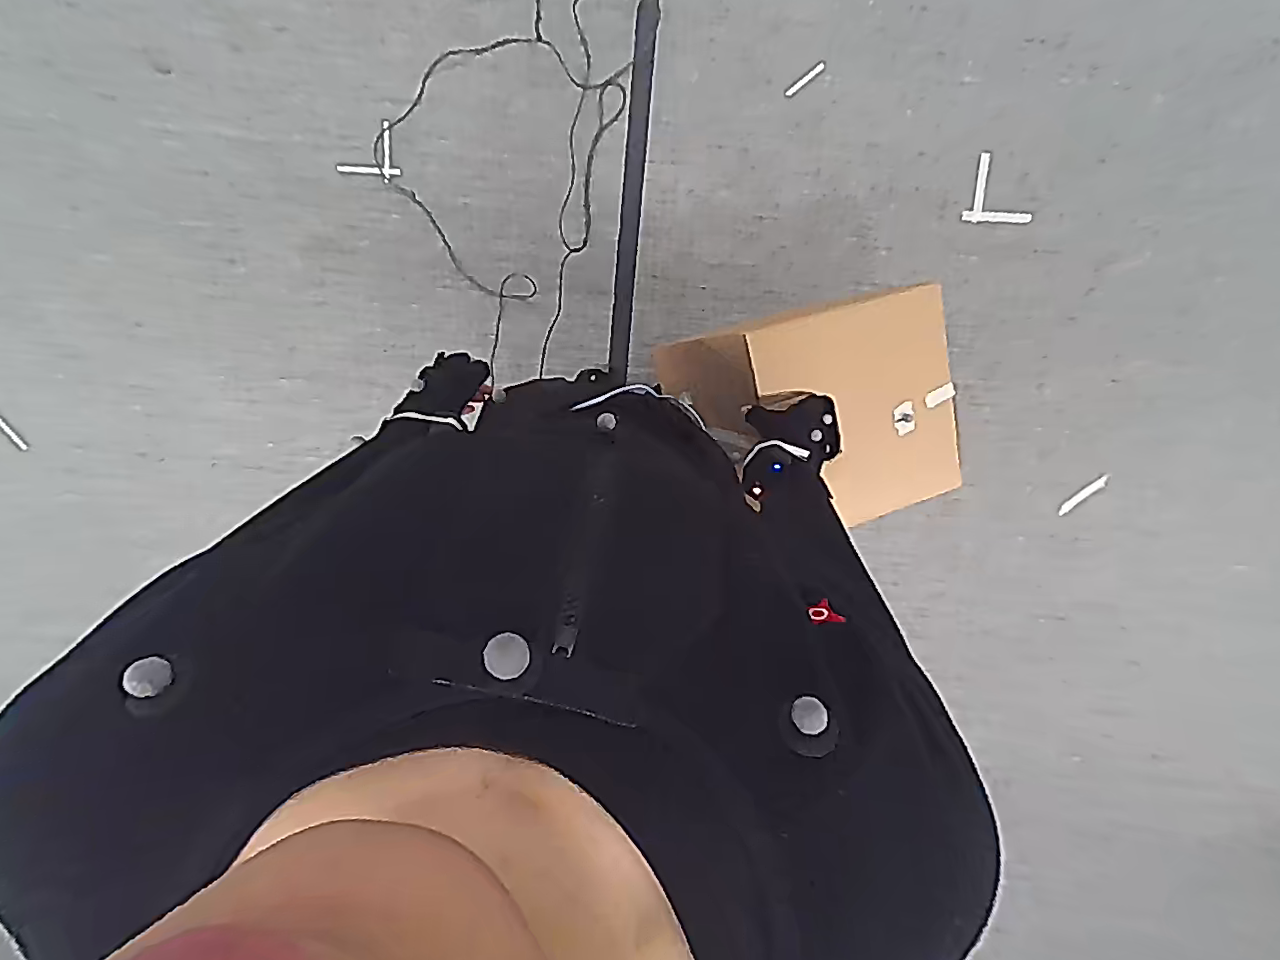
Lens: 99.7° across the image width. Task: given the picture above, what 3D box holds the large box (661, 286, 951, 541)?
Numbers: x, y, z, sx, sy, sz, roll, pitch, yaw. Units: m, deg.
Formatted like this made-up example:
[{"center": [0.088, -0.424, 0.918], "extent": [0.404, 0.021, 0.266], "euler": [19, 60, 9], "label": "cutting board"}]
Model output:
[{"center": [0.266, -0.129, 0.966], "extent": [0.320, 0.408, 0.320], "euler": [-16, 105, -11], "label": "large box"}]
